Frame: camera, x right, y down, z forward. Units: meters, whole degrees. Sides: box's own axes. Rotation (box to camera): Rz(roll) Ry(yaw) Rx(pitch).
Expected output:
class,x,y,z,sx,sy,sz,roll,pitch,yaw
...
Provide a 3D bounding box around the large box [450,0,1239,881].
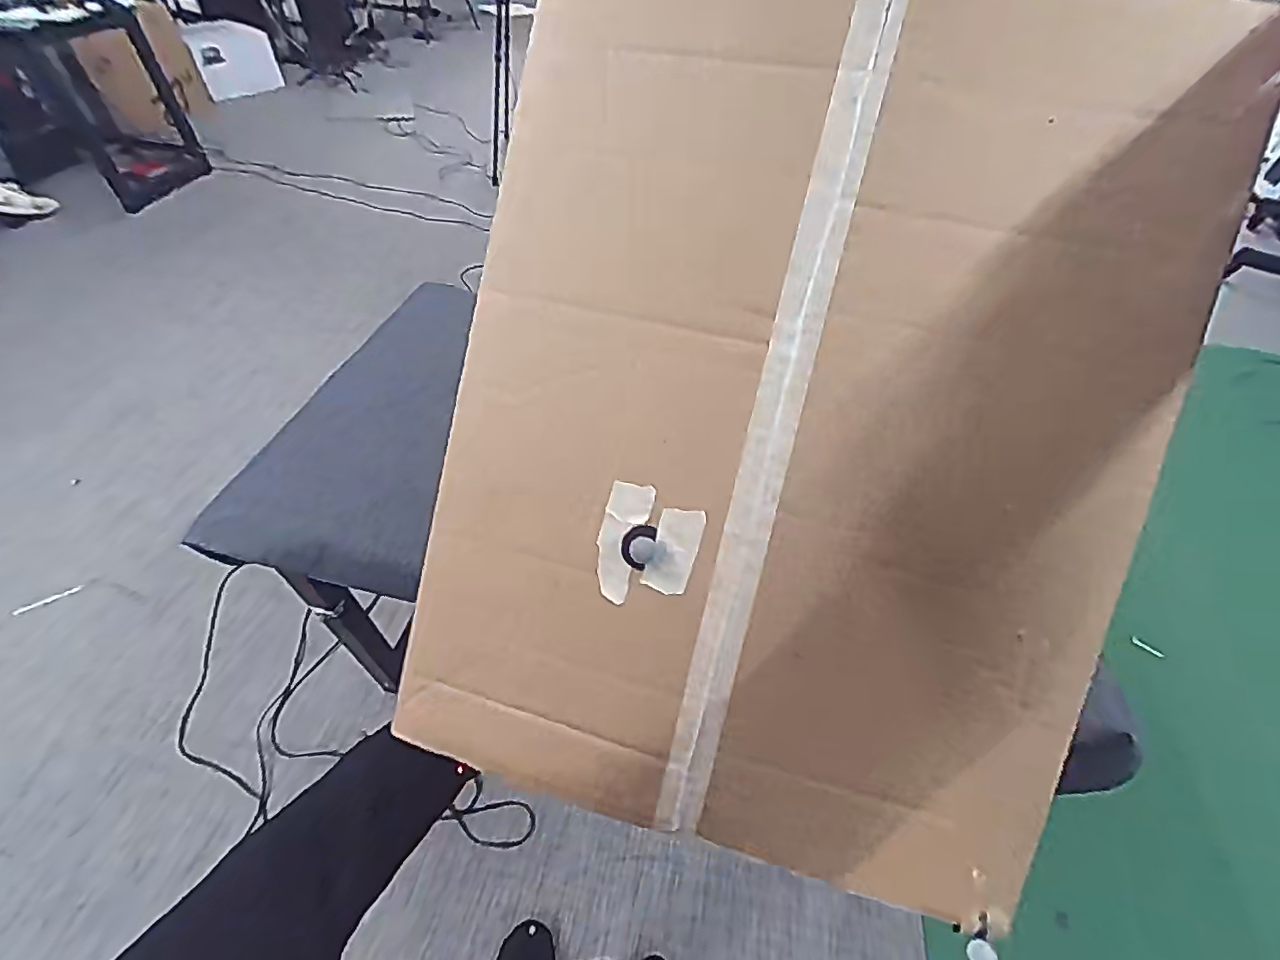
class,x,y,z,sx,sy,sz,roll,pitch,yaw
large box,0.096,-0.032,0.417,0.320,0.408,0.320,13,6,8
